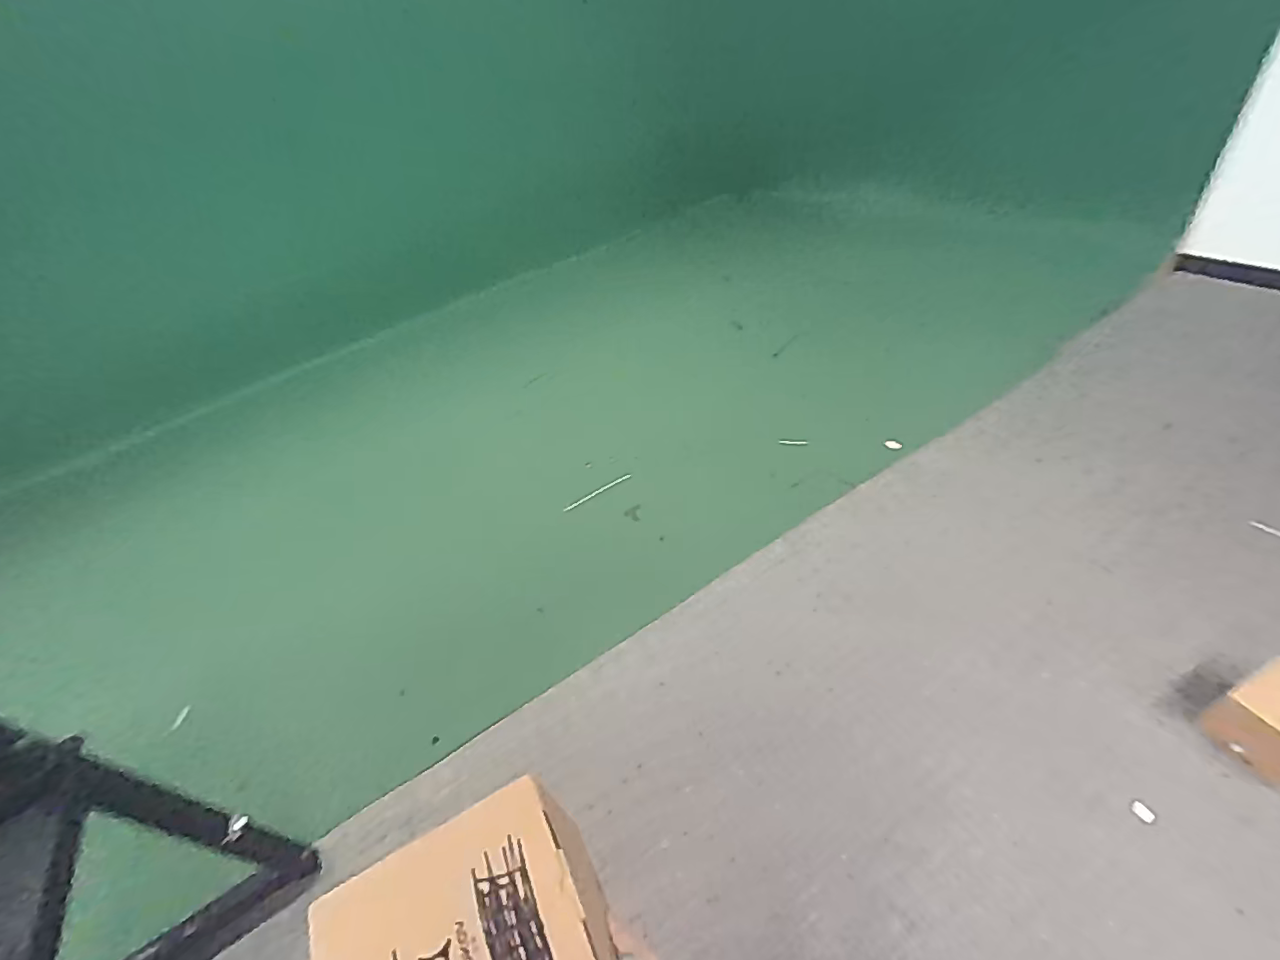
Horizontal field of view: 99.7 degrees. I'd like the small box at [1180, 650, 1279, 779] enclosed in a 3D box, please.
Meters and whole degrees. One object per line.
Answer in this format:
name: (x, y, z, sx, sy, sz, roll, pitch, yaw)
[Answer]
small box: (1.354, 0.512, 1.179, 0.179, 0.176, 0.168, -26, 44, -10)
